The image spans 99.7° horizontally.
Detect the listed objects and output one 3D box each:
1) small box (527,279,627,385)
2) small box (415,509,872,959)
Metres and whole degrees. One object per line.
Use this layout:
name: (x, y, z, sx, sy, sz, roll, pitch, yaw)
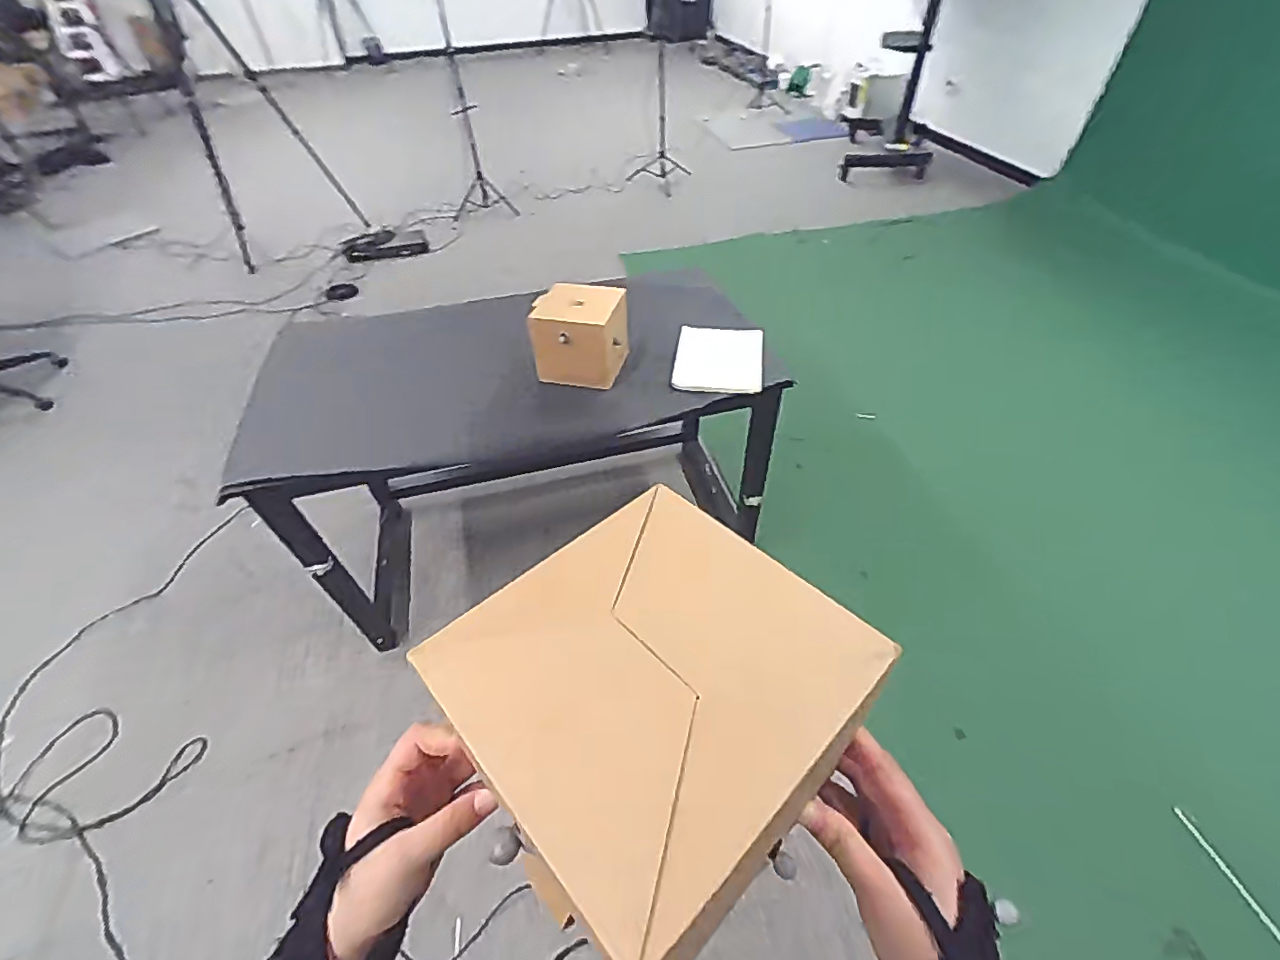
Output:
small box: (-0.133, -0.336, 1.237, 0.179, 0.176, 0.168, 9, 48, 12)
small box: (0.006, 0.141, 0.315, 0.179, 0.176, 0.168, -34, 51, -30)
